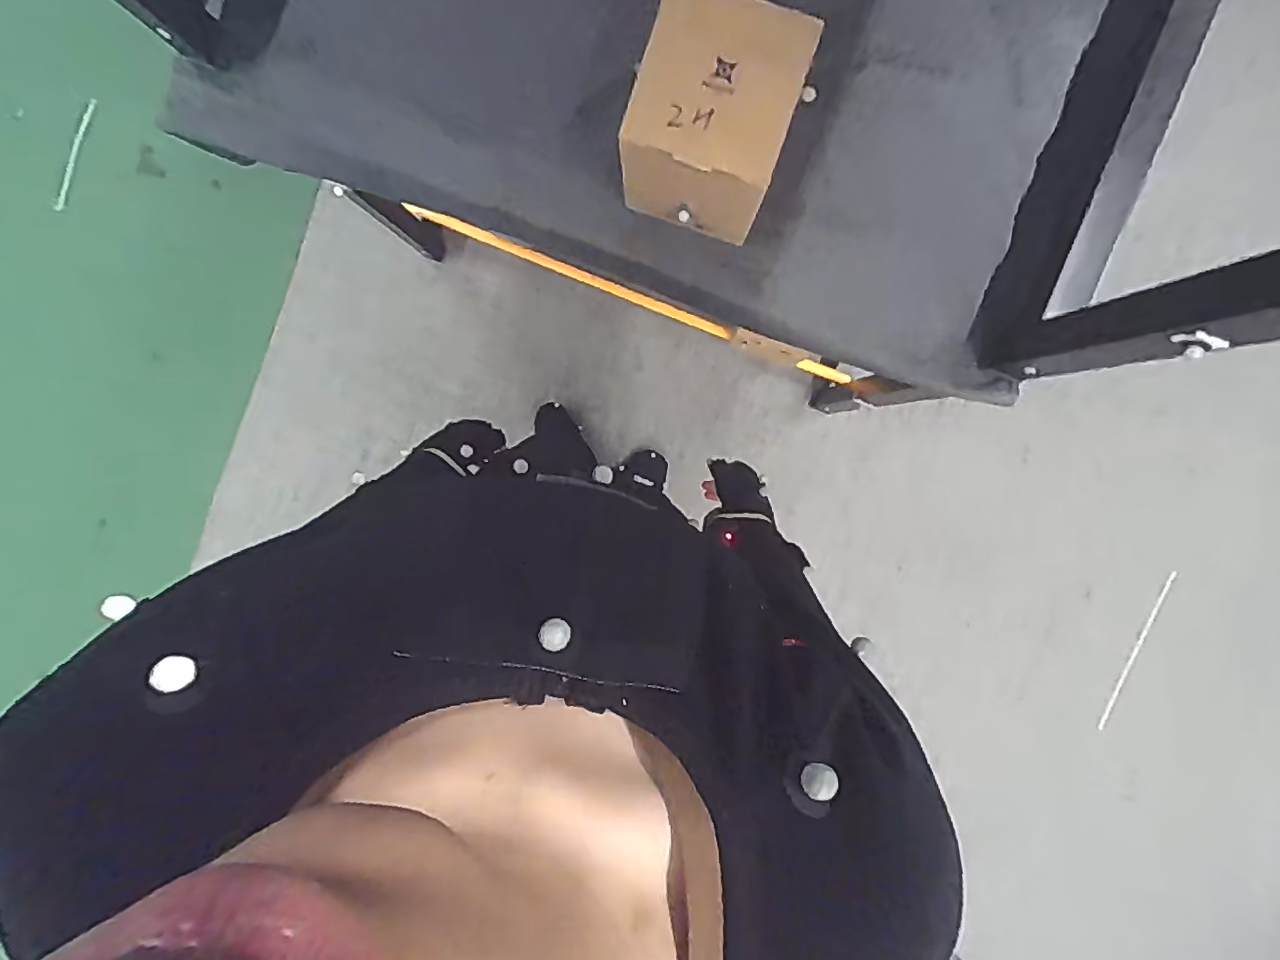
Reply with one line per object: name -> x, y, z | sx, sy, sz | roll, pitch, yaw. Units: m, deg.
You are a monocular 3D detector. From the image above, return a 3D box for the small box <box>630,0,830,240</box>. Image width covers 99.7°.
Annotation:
small box -> 0.093, -0.420, 0.637 | 0.168, 0.176, 0.179 | 19, 93, 0
